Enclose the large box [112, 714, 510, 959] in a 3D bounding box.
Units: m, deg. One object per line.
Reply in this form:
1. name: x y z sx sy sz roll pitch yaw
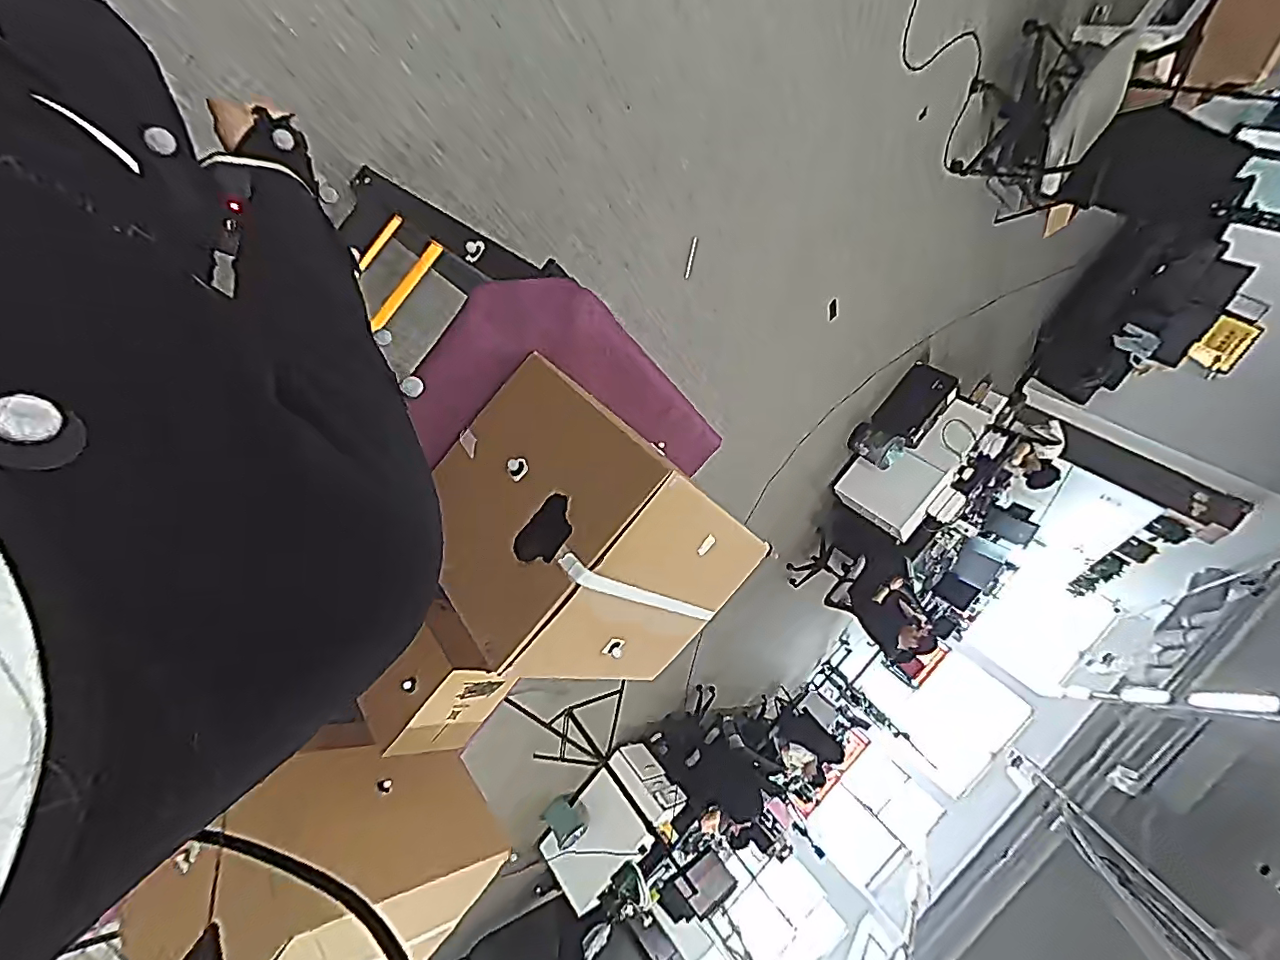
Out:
1. large box: -0.507 0.621 0.876 0.320 0.320 0.408 -51 148 3
